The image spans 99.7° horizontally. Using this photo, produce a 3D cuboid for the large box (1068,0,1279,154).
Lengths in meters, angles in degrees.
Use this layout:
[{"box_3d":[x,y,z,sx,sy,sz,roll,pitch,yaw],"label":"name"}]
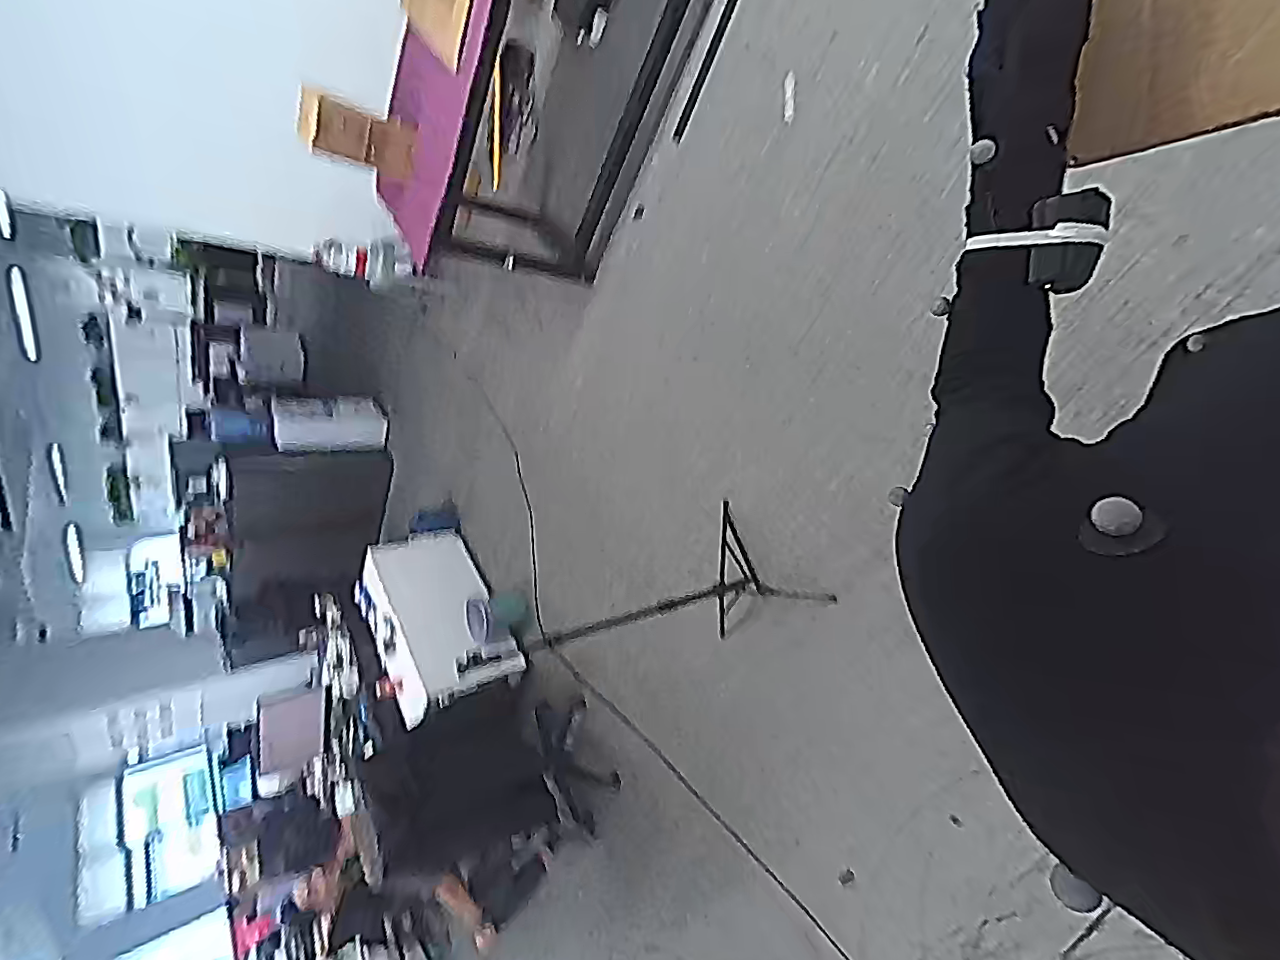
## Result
[{"box_3d":[0.535,-0.439,0.332,0.408,0.320,0.320,5,117,44],"label":"large box"}]
